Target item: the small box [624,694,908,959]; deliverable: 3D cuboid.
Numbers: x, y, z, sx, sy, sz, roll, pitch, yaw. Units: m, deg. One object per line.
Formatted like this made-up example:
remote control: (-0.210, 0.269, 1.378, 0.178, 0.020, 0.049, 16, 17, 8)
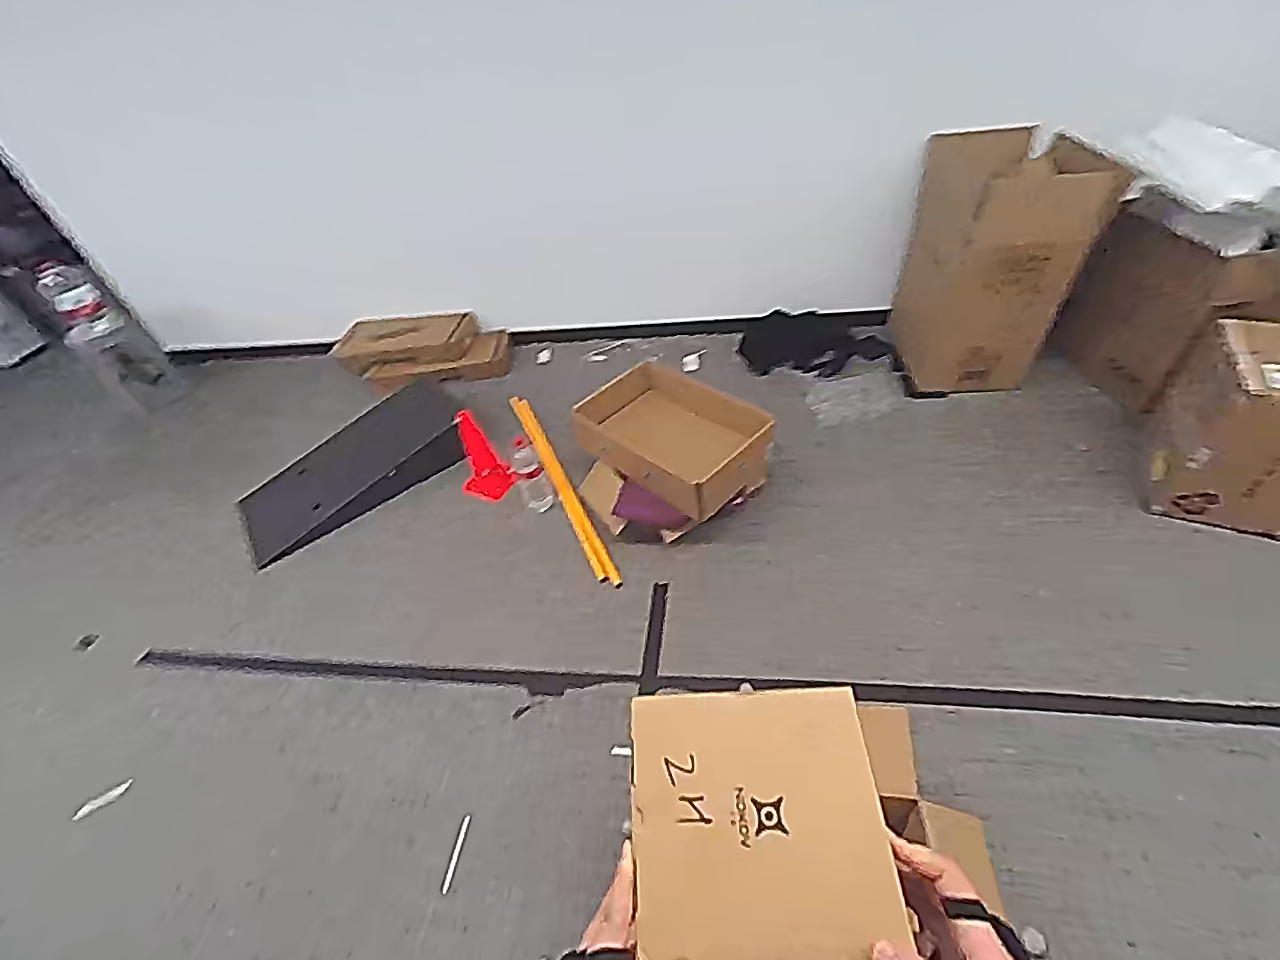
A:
small box: (0.079, 0.282, 0.441, 0.179, 0.176, 0.168, -4, 55, 1)
